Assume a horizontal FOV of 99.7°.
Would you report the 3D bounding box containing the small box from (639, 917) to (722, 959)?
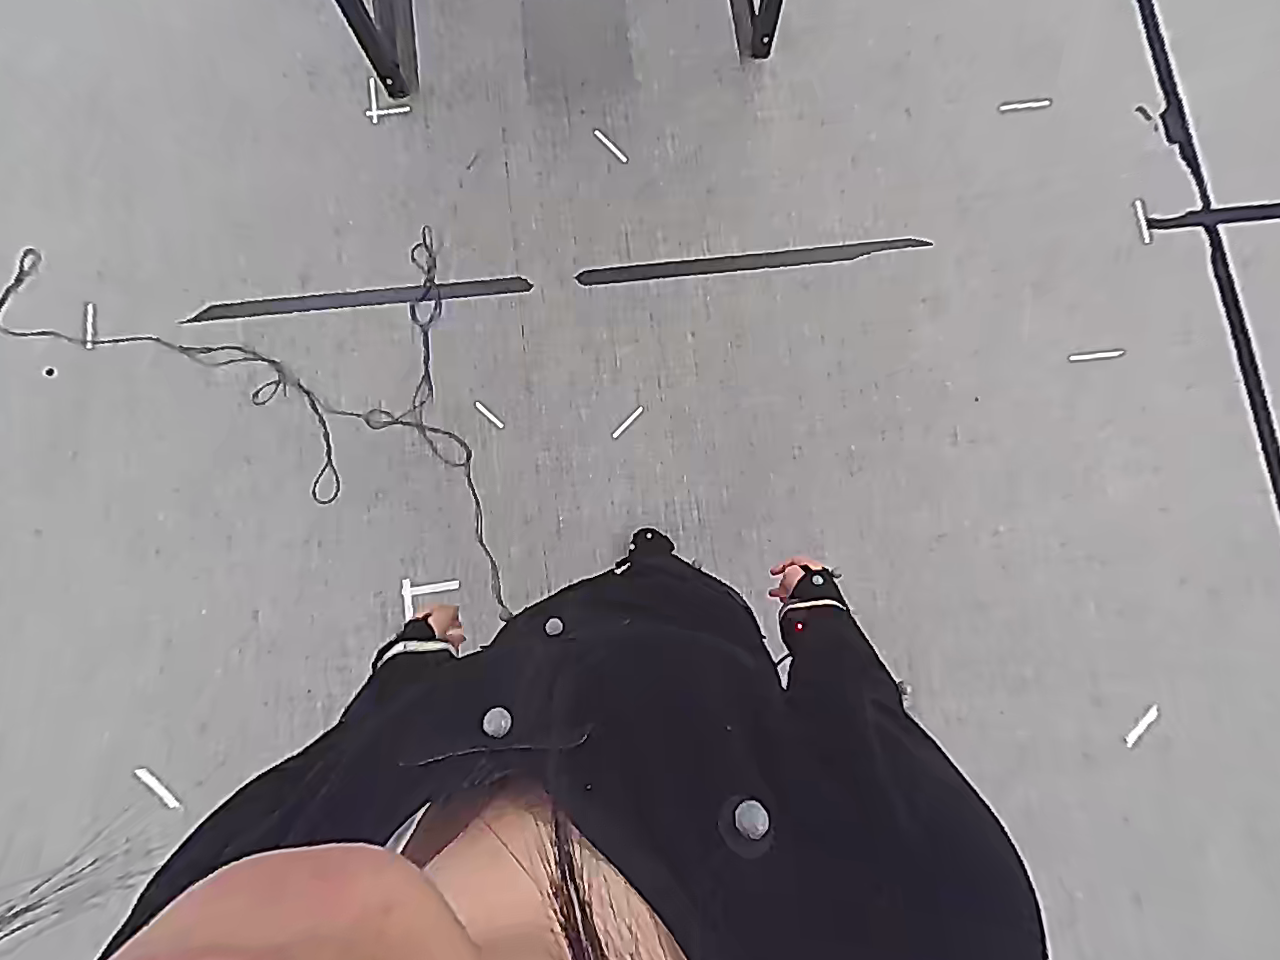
[{"bbox_3d":[0.089,1.072,1.143,0.179,0.176,0.168,-6,84,0],"label":"small box"}]
